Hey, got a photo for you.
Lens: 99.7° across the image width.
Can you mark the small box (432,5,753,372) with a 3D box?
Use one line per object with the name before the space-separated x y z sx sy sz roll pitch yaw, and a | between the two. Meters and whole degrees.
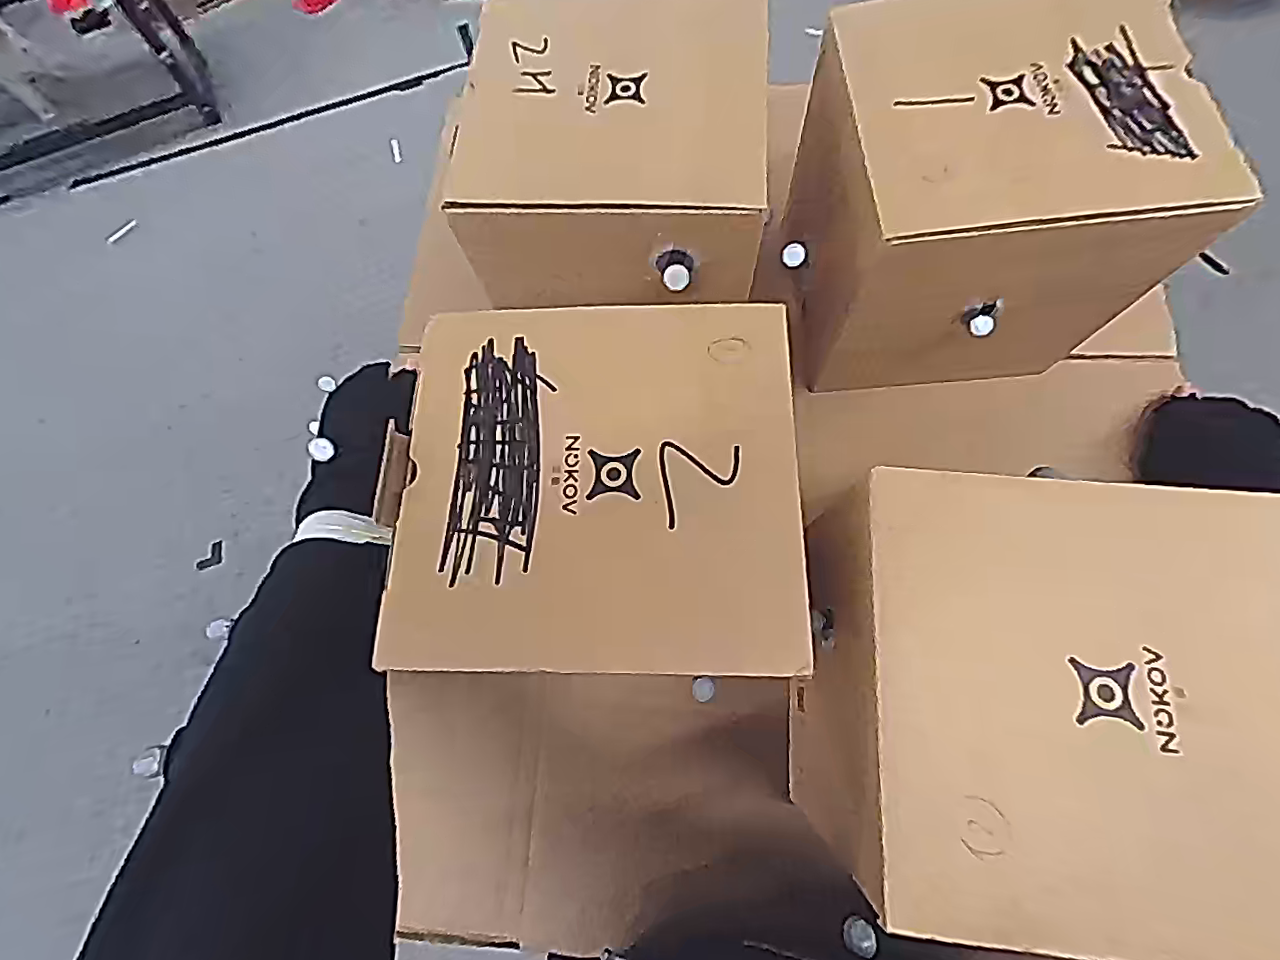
small box | -0.018 -0.190 0.390 0.179 0.176 0.168 2 73 6
